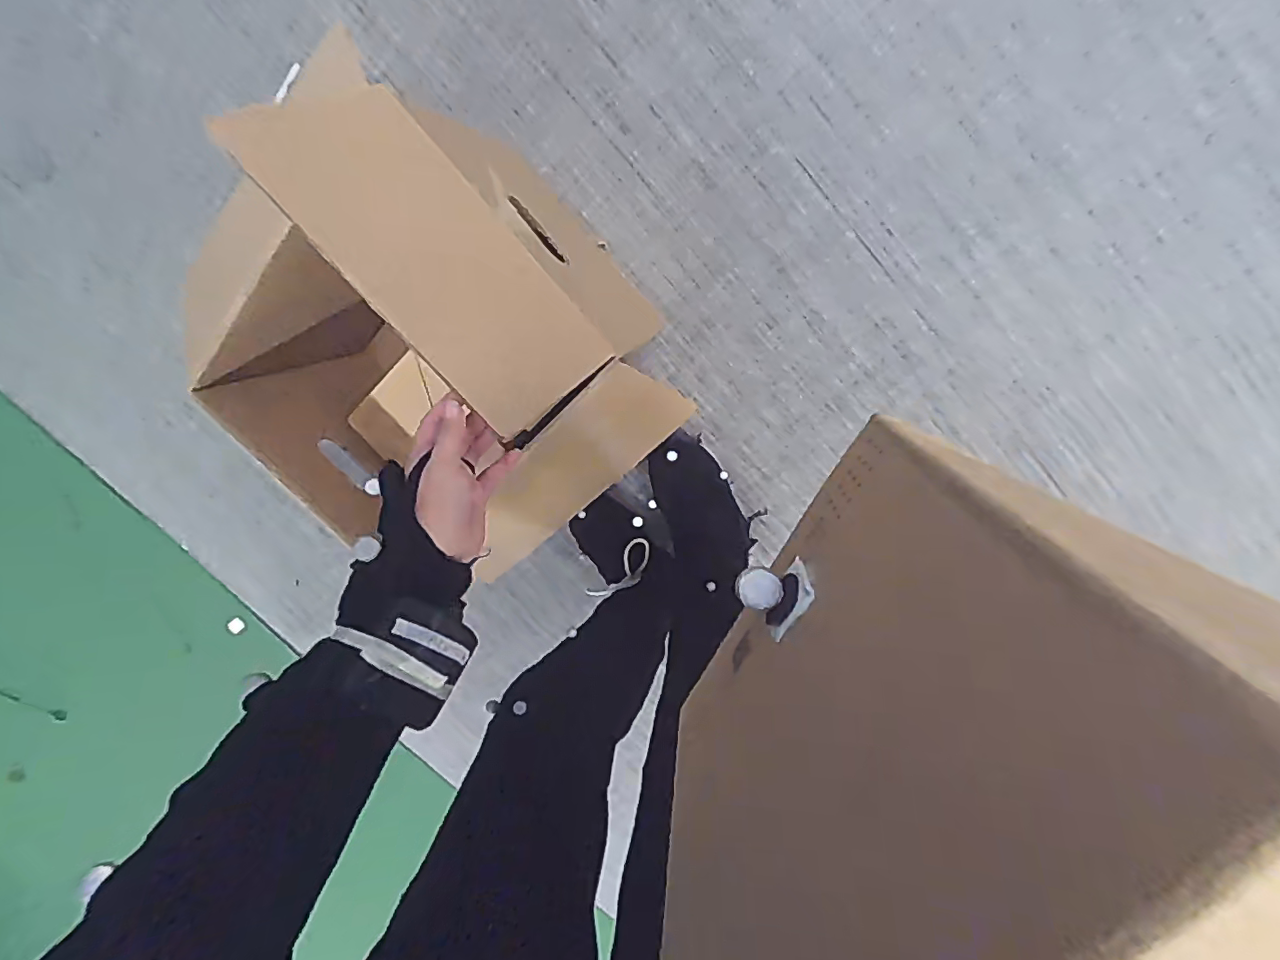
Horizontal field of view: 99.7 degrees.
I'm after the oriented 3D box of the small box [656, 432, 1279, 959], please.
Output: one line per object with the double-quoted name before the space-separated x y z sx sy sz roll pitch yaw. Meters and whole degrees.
"small box" 0.119 0.101 0.167 0.179 0.176 0.168 25 109 -1
